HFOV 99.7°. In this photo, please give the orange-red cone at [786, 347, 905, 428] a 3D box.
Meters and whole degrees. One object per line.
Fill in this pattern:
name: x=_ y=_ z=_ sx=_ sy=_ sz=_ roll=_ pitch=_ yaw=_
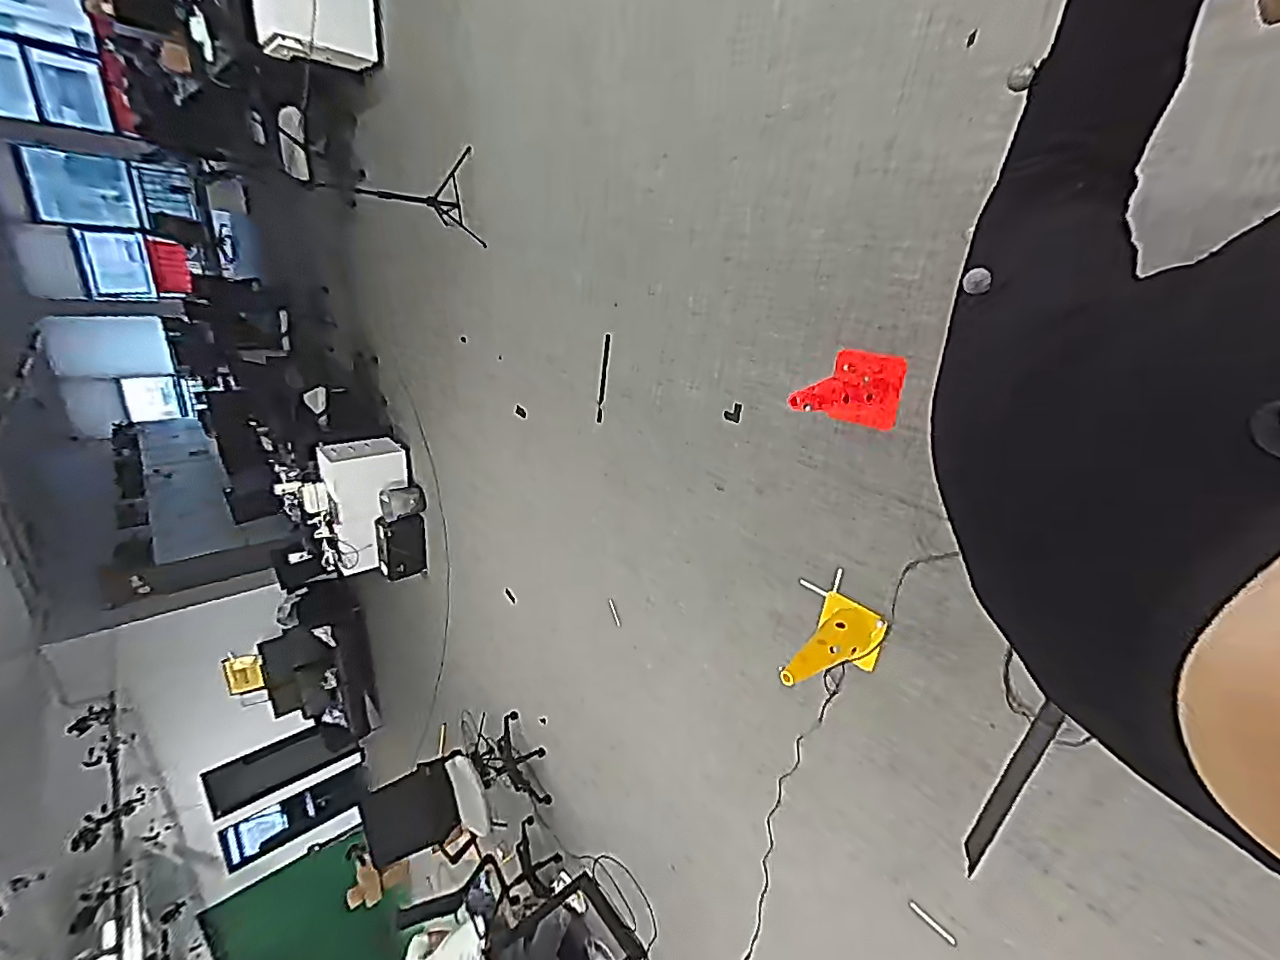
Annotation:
orange-red cone: x=0.499 y=-0.223 z=1.403 sx=0.198 sy=0.360 sz=0.199 roll=27 pitch=122 yaw=43
